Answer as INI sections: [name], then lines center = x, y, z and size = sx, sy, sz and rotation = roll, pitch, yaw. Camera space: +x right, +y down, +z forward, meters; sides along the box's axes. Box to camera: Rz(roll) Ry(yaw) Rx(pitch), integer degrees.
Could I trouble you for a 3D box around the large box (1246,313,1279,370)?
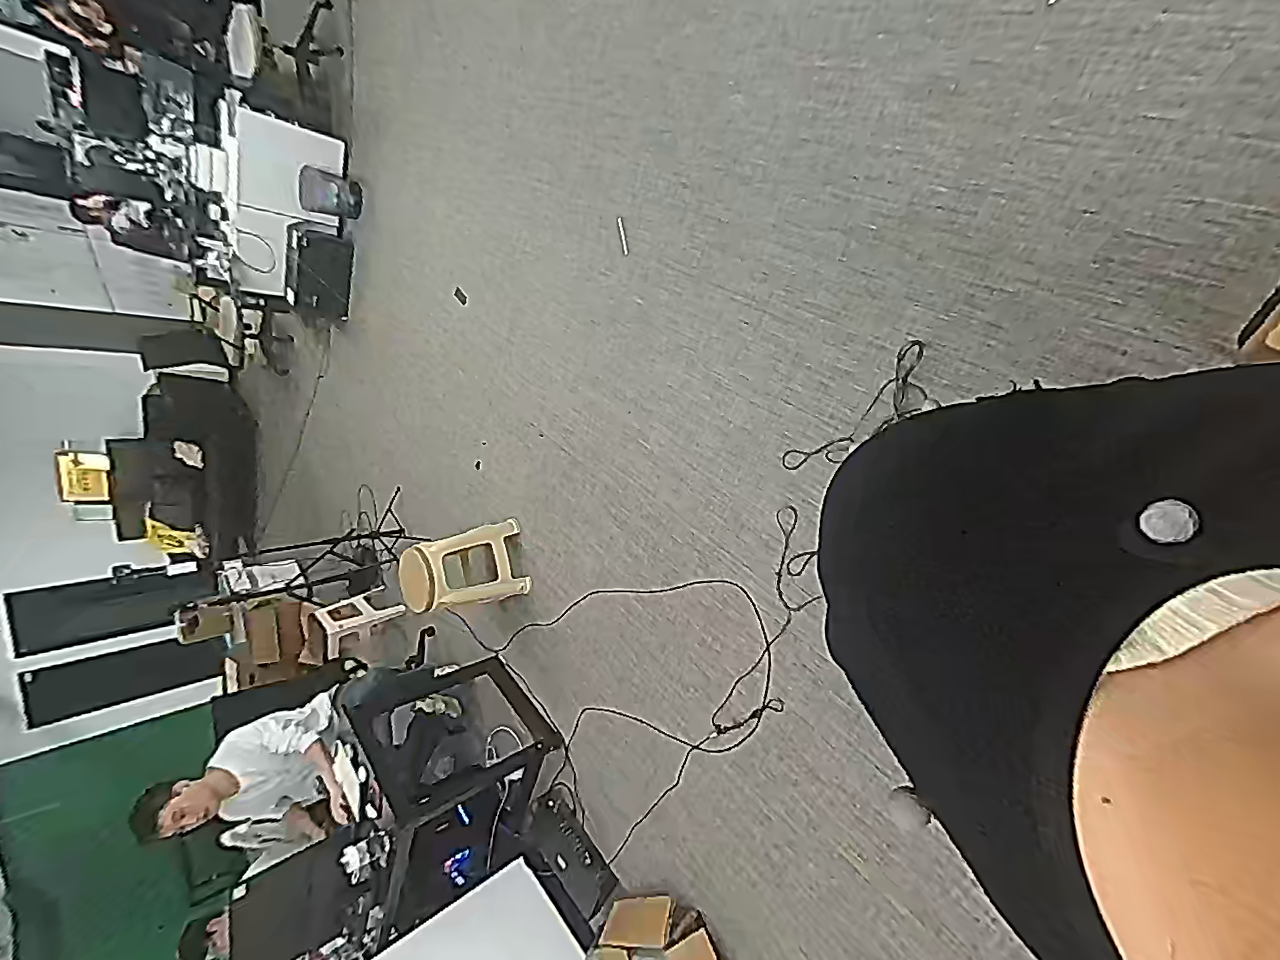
[large box]
center = 1.107, -0.225, 0.643
size = 0.408, 0.320, 0.320
rotation = 38, 120, 33
